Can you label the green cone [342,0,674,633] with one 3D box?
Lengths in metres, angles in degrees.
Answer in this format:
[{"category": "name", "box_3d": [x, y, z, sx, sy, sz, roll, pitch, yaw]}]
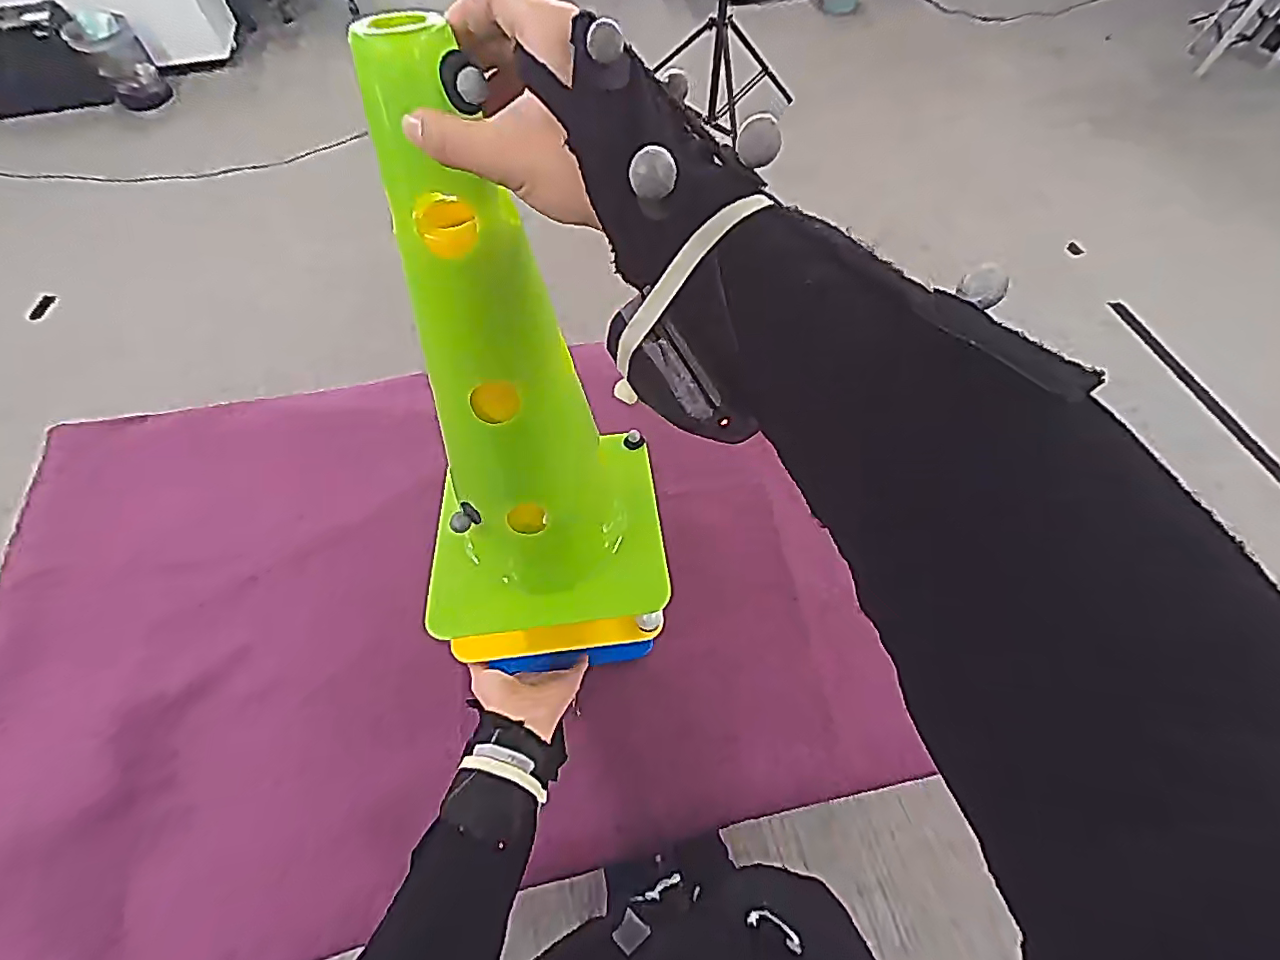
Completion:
[{"category": "green cone", "box_3d": [-0.090, -0.074, 0.350, 0.200, 0.368, 0.202, -8, 51, -2]}]
